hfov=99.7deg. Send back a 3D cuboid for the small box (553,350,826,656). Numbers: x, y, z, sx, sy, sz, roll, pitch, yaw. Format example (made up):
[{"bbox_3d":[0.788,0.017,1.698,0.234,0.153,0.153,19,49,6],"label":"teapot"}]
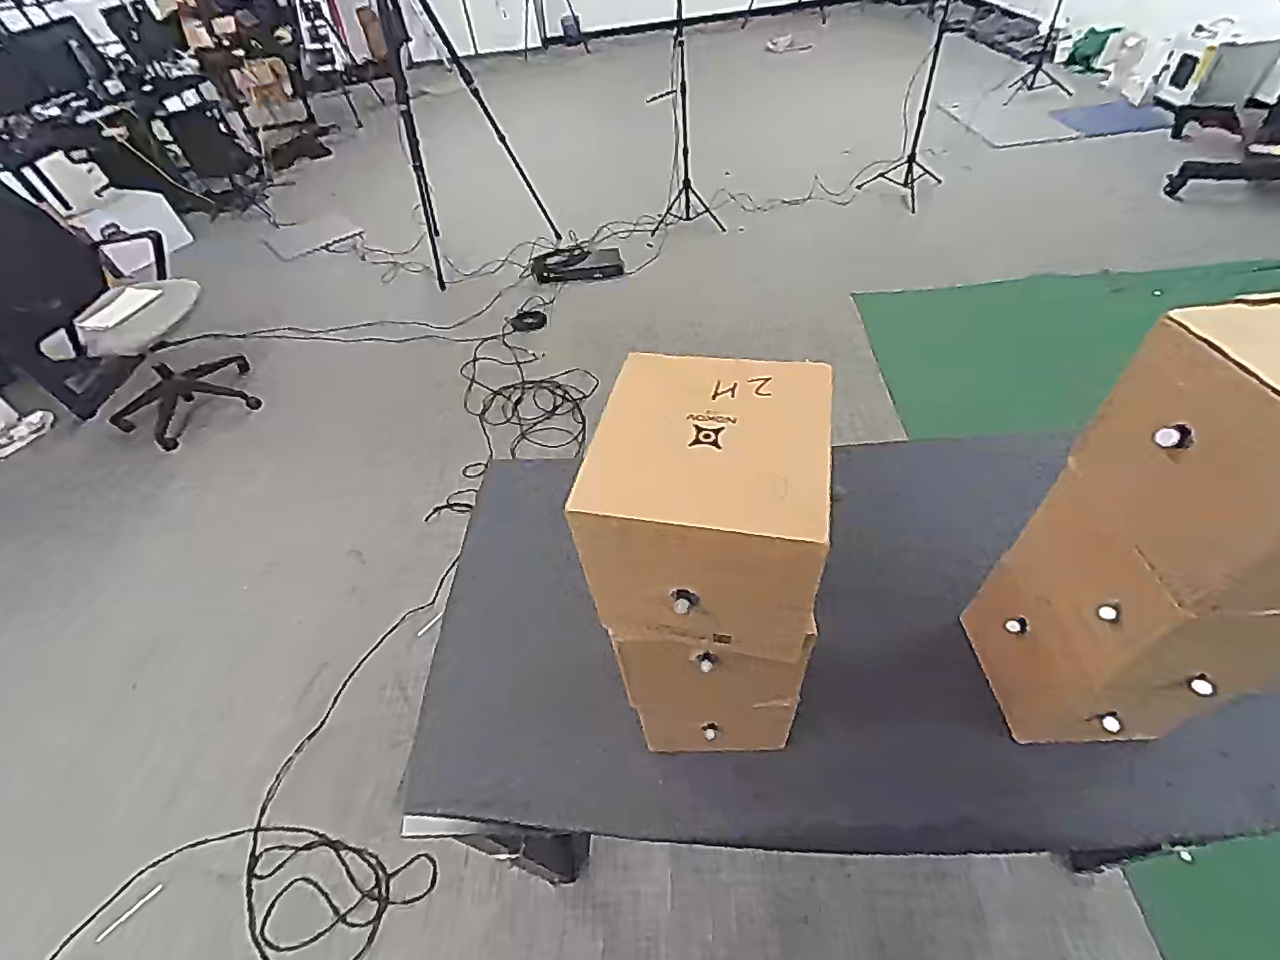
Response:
[{"bbox_3d":[0.051,0.019,0.436,0.168,0.176,0.179,7,50,13],"label":"small box"}]

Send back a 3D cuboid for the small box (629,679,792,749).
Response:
[{"bbox_3d":[0.084,0.229,0.684,0.179,0.176,0.168,-4,48,6],"label":"small box"}]

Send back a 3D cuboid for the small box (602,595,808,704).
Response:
[{"bbox_3d":[0.064,0.124,0.563,0.179,0.176,0.168,-2,49,5],"label":"small box"}]

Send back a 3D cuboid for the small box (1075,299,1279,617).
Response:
[{"bbox_3d":[0.490,-0.020,0.409,0.168,0.176,0.179,-7,46,3],"label":"small box"}]

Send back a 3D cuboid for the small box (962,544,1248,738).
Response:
[{"bbox_3d":[0.527,0.199,0.651,0.168,0.176,0.179,-4,47,4],"label":"small box"}]
